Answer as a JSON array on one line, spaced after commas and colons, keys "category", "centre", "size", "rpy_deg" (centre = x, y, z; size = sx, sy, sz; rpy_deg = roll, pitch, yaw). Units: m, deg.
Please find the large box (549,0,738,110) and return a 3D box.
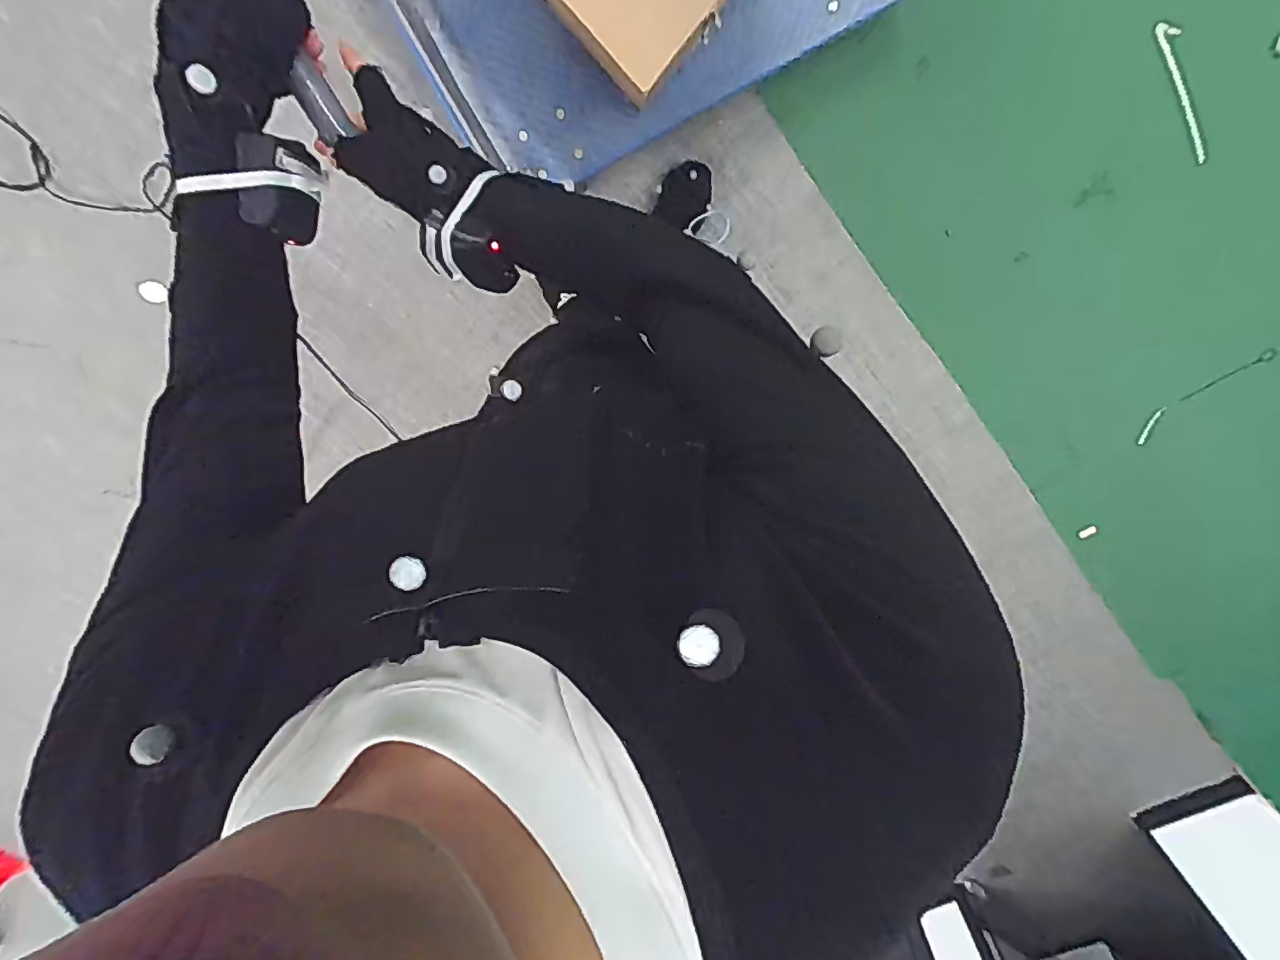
[{"category": "large box", "centre": [-0.026, -0.814, 0.749], "size": [0.408, 0.320, 0.320], "rpy_deg": [40, 112, -20]}]
